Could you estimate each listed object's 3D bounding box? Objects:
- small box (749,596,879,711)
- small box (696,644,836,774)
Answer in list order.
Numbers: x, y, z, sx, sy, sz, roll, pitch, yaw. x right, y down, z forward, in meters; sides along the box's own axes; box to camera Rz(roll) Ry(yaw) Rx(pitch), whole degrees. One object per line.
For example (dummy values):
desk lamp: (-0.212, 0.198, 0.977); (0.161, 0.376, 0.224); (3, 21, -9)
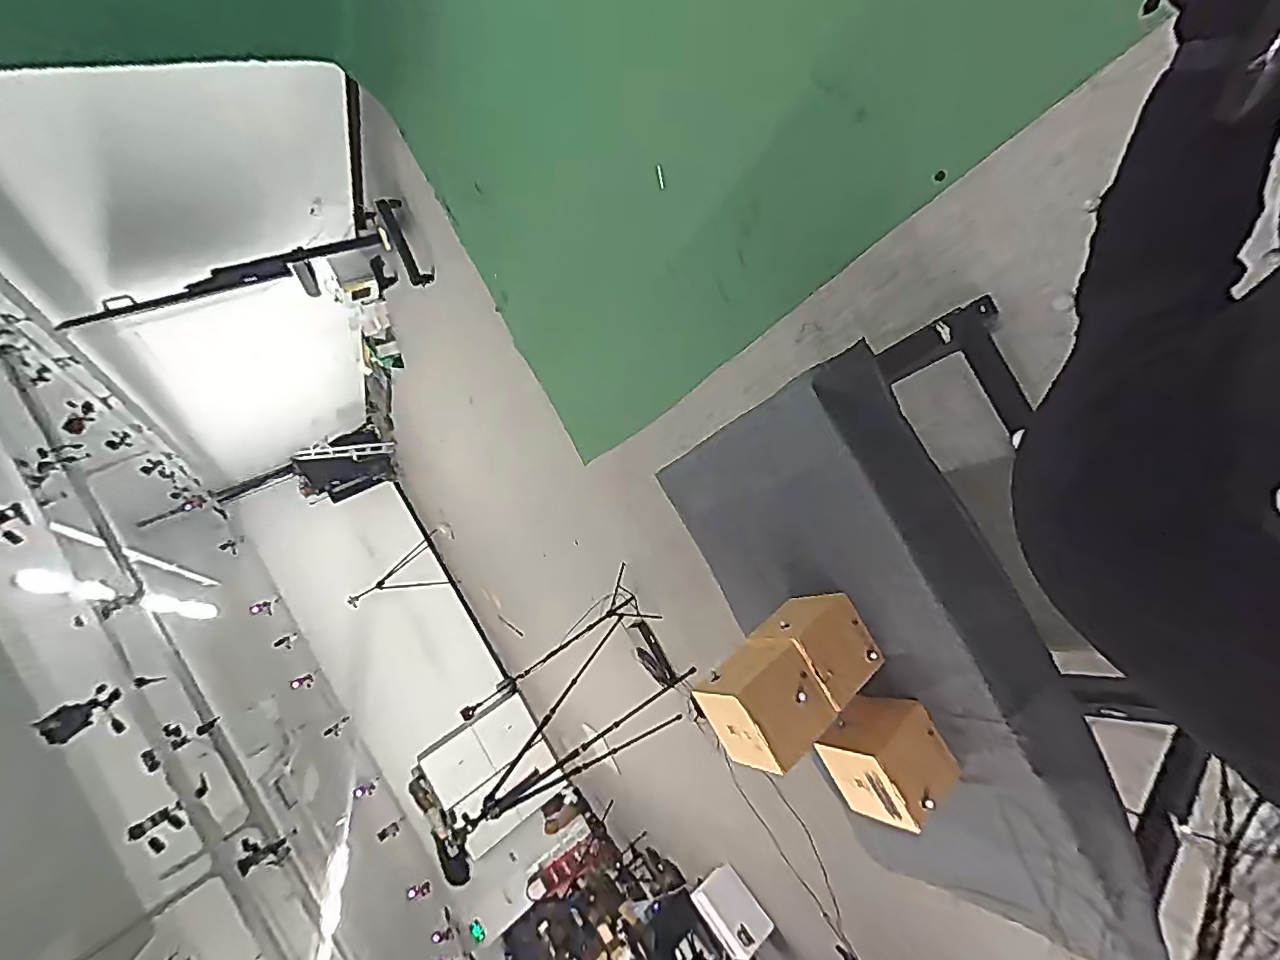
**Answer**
small box: (0.375, 0.361, 1.148); (0.168, 0.176, 0.179); (60, 151, 2)
small box: (0.250, 0.445, 1.080); (0.168, 0.176, 0.179); (59, 150, 3)
